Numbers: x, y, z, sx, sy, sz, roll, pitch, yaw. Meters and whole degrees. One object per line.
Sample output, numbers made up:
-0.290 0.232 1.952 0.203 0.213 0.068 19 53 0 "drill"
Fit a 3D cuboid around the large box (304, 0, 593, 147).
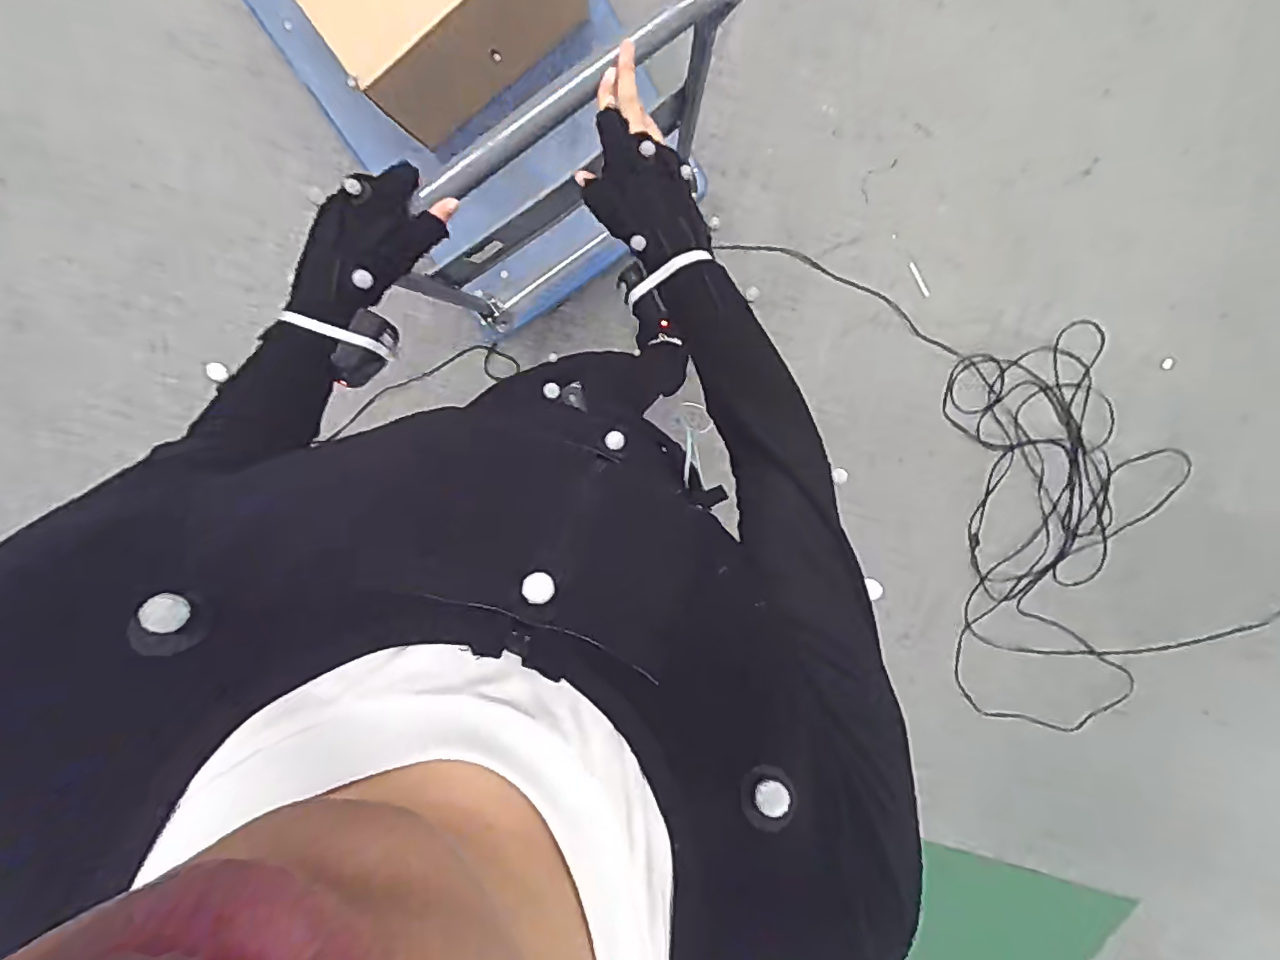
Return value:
-0.329 -0.854 0.887 0.408 0.320 0.320 -36 104 10 "large box"
